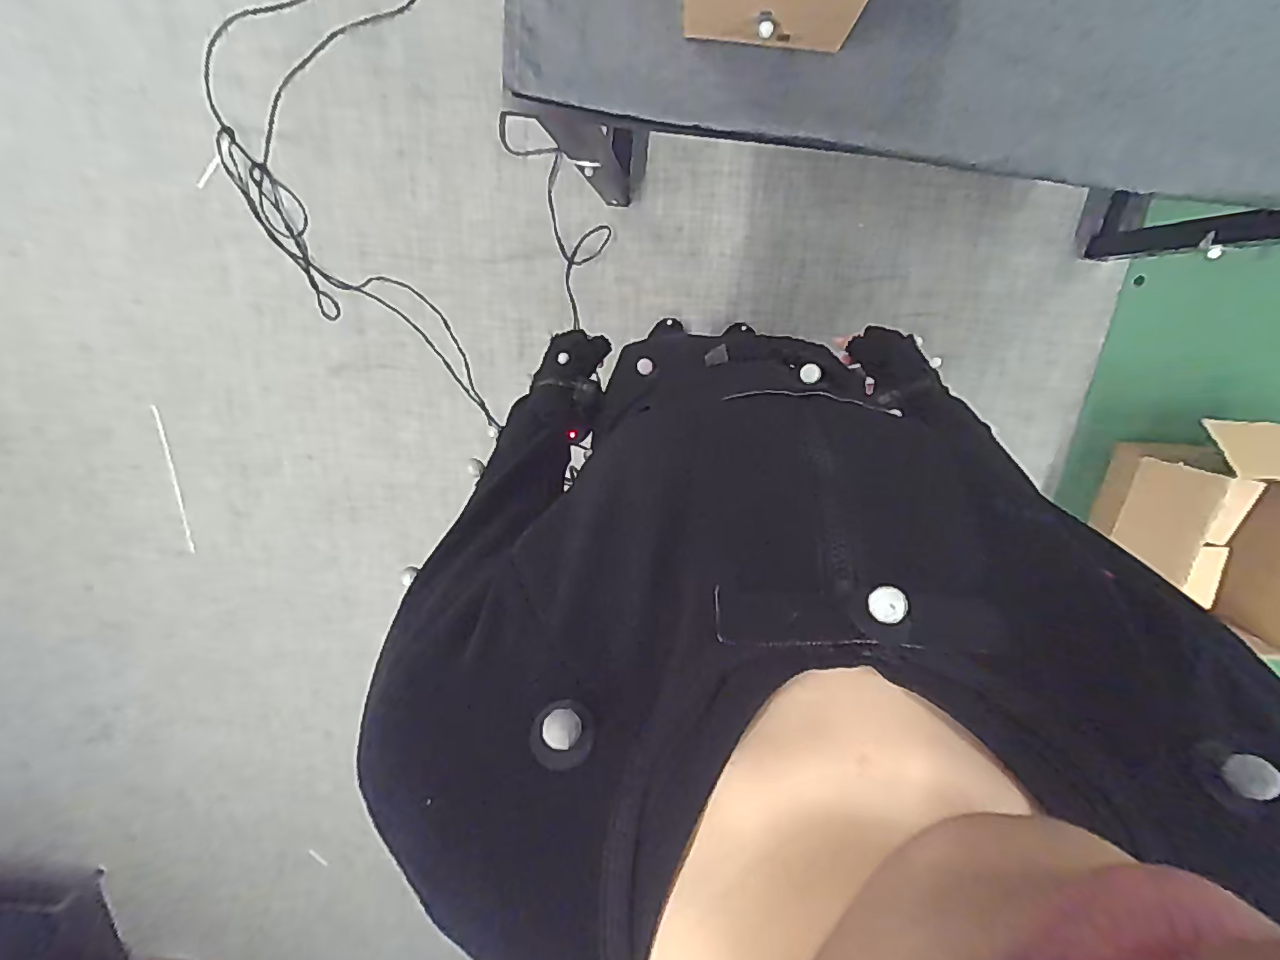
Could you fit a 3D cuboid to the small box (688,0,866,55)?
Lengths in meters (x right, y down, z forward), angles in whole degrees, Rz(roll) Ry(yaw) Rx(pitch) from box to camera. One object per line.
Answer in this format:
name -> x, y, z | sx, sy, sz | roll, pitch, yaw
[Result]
small box -> 0.133, -0.521, 0.474 | 0.168, 0.176, 0.179 | 7, 107, 2
